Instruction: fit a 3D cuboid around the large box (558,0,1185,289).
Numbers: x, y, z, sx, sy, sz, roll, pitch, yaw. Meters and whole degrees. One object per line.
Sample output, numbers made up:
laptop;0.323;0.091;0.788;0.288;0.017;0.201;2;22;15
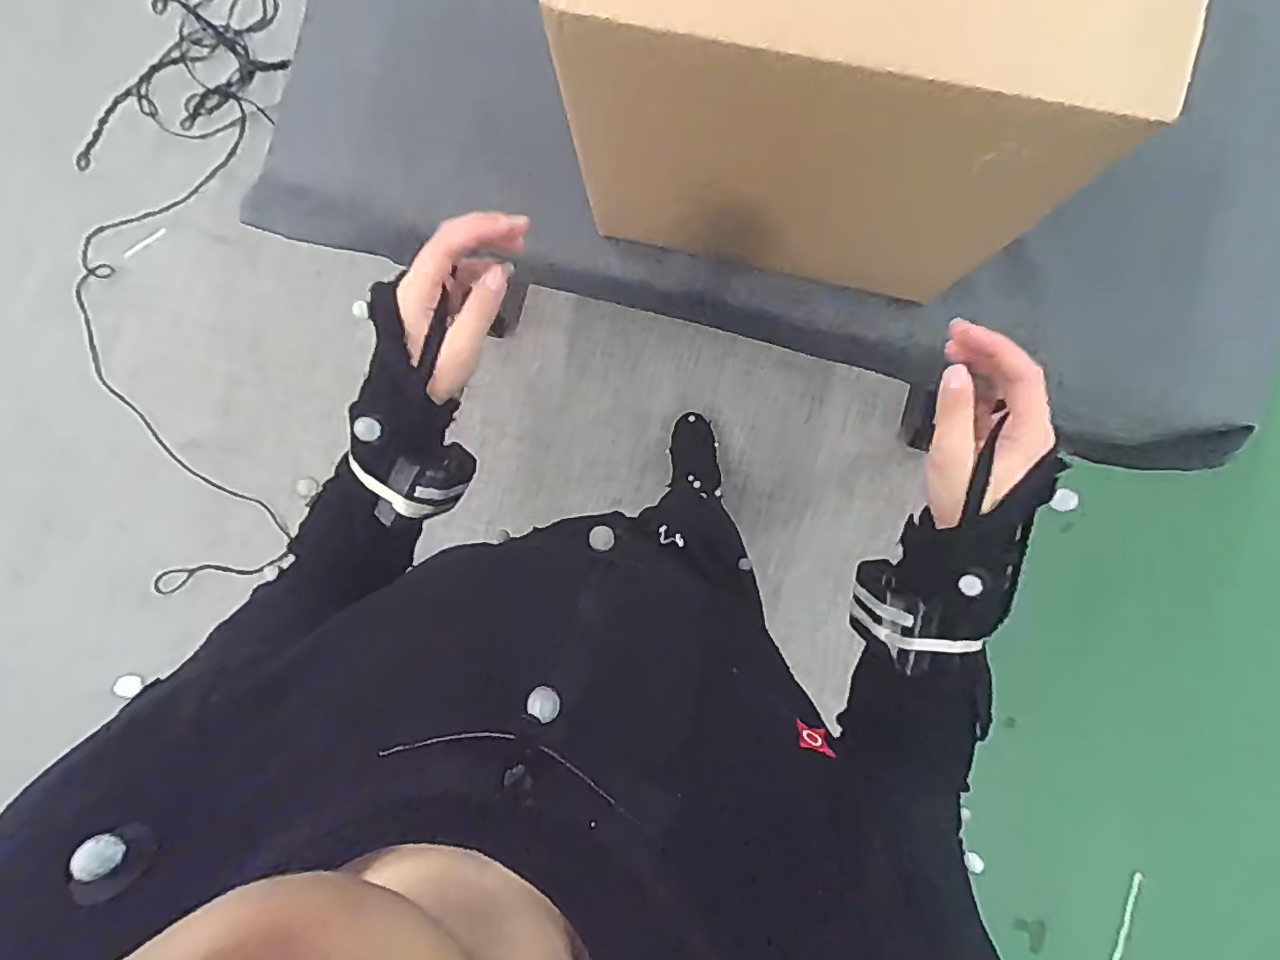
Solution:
large box;0.170;-0.413;0.500;0.408;0.320;0.320;12;90;2
